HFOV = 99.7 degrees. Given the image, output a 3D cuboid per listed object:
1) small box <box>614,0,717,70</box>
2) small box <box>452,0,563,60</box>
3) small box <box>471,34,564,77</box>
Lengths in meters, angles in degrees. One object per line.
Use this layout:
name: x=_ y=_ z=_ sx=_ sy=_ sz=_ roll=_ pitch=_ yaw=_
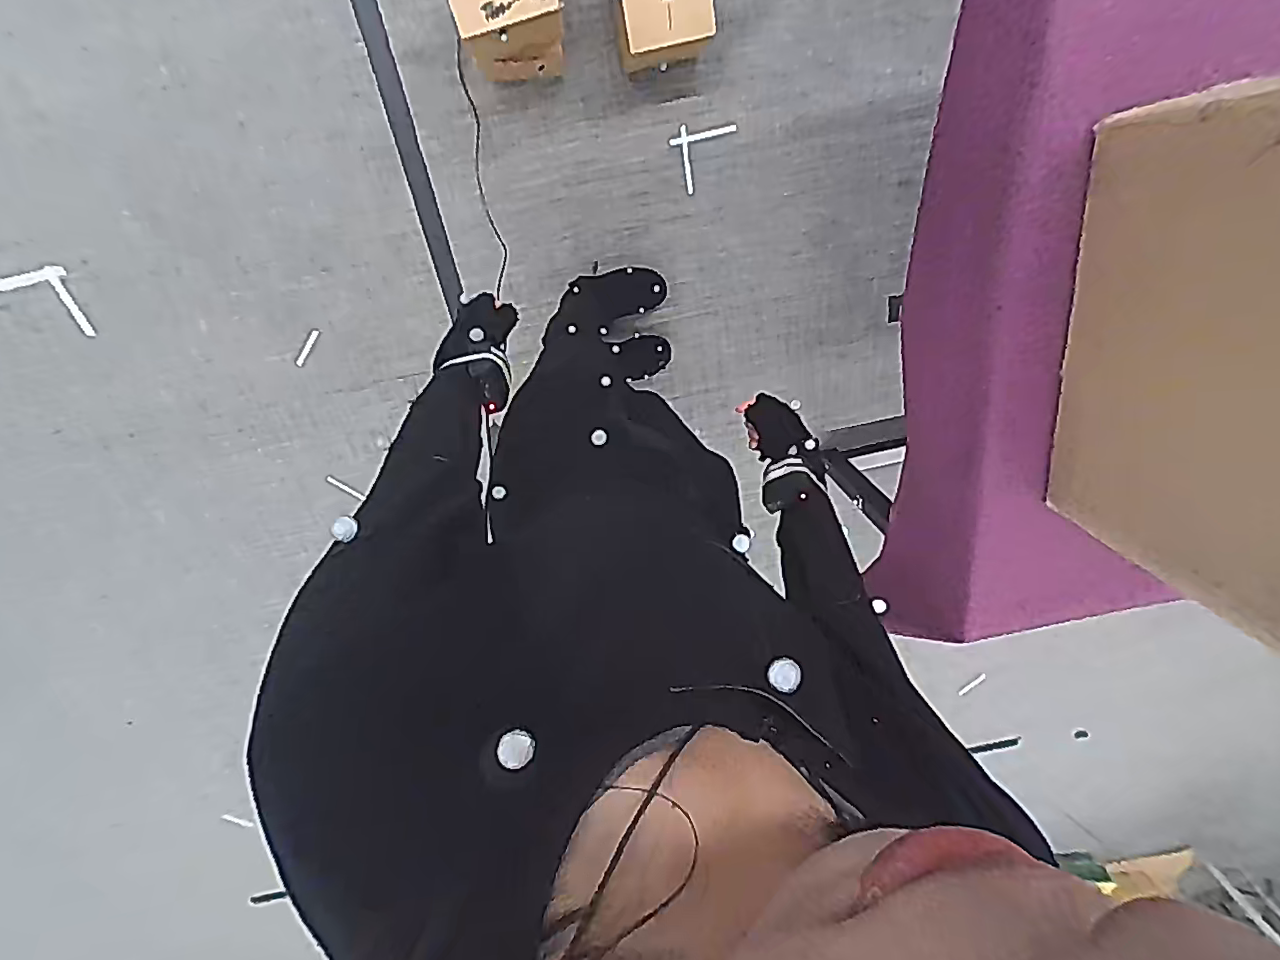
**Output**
small box: x=0.041 y=-0.920 z=1.030 sx=0.168 sy=0.176 sz=0.179 roll=-12 pitch=118 yaw=0
small box: x=-0.228 y=-0.822 z=0.870 sx=0.168 sy=0.176 sz=0.179 roll=-16 pitch=117 yaw=1
small box: x=-0.236 y=-0.885 z=1.022 sx=0.168 sy=0.176 sz=0.179 roll=-7 pitch=116 yaw=-4
